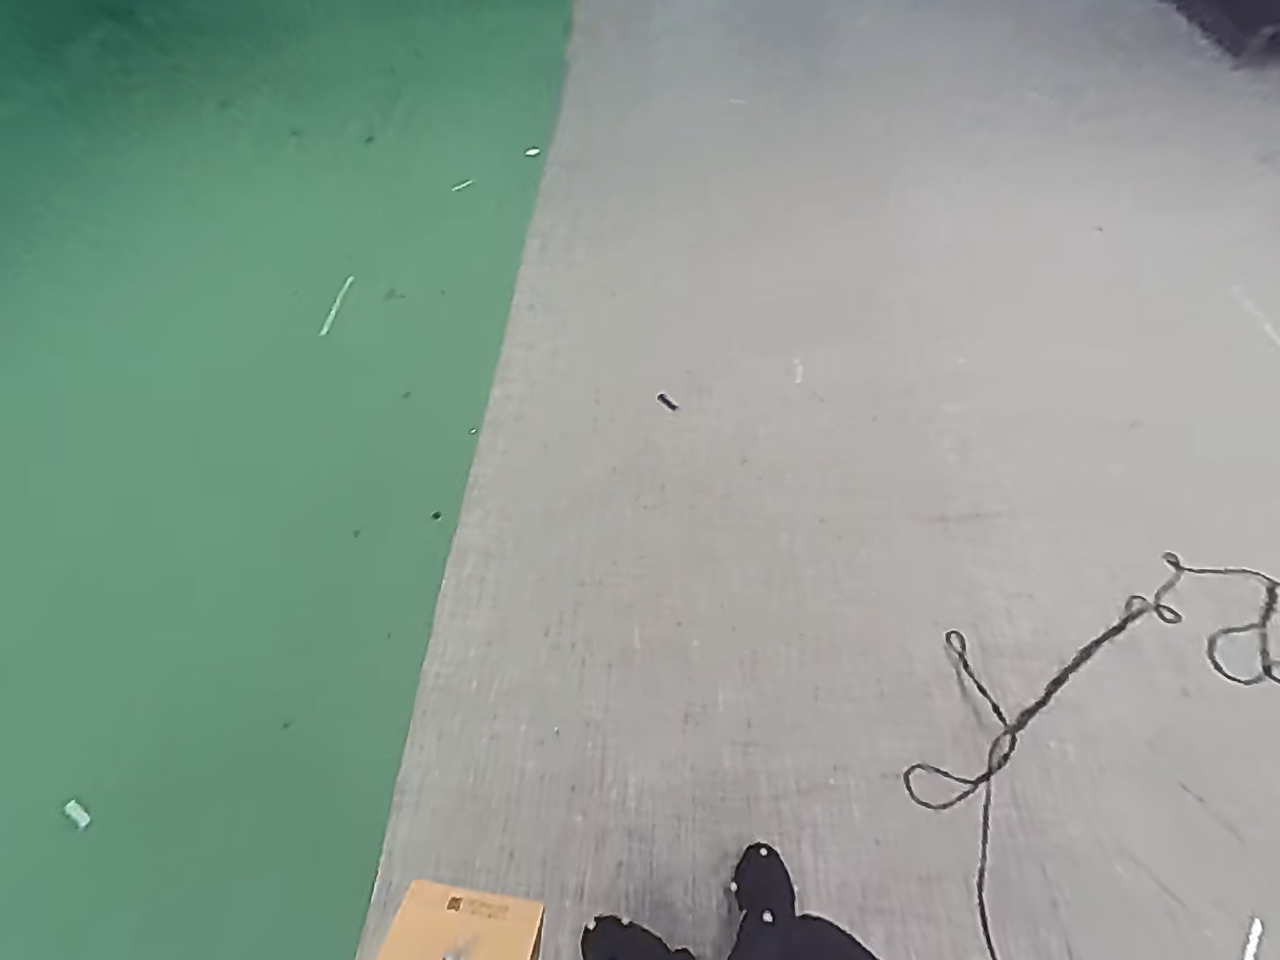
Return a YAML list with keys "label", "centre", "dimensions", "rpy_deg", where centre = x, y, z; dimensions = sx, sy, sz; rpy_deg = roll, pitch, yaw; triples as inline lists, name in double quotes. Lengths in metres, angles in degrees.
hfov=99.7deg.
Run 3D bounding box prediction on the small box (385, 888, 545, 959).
- label: "small box"
  centre: [-0.208, 0.602, 0.599]
  dimensions: [0.168, 0.179, 0.176]
  rpy_deg: [9, 17, 2]
